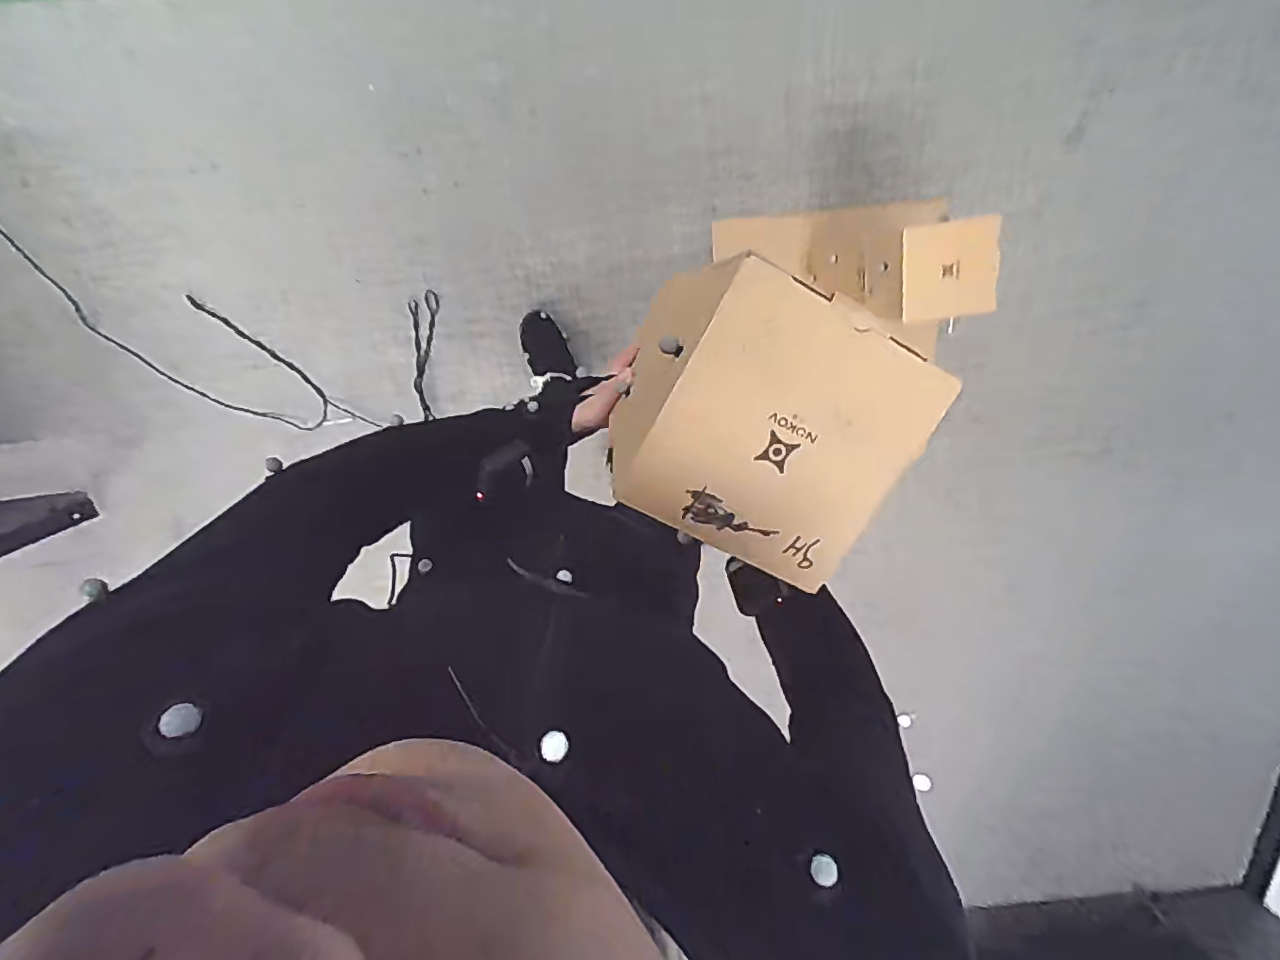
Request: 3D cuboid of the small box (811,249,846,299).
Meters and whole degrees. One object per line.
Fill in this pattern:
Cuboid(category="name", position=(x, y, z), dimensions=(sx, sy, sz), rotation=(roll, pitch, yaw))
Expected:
Cuboid(category="small box", position=(0.546, -0.493, 1.349), dimensions=(0.179, 0.176, 0.168), rotation=(-12, 108, 3))

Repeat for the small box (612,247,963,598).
Cuboid(category="small box", position=(0.086, -0.049, 0.415), dimensions=(0.168, 0.176, 0.179), rotation=(26, 105, -10))

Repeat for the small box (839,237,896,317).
Cuboid(category="small box", position=(0.551, -0.442, 1.194), dimensions=(0.179, 0.176, 0.168), rotation=(-9, 108, 0))

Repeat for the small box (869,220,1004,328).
Cuboid(category="small box", position=(0.558, -0.388, 1.041), dimensions=(0.179, 0.176, 0.168), rotation=(-9, 108, 1))

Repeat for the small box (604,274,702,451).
Cuboid(category="small box", position=(0.076, -0.094, 0.573), dimensions=(0.168, 0.176, 0.179), rotation=(28, 105, -11))
